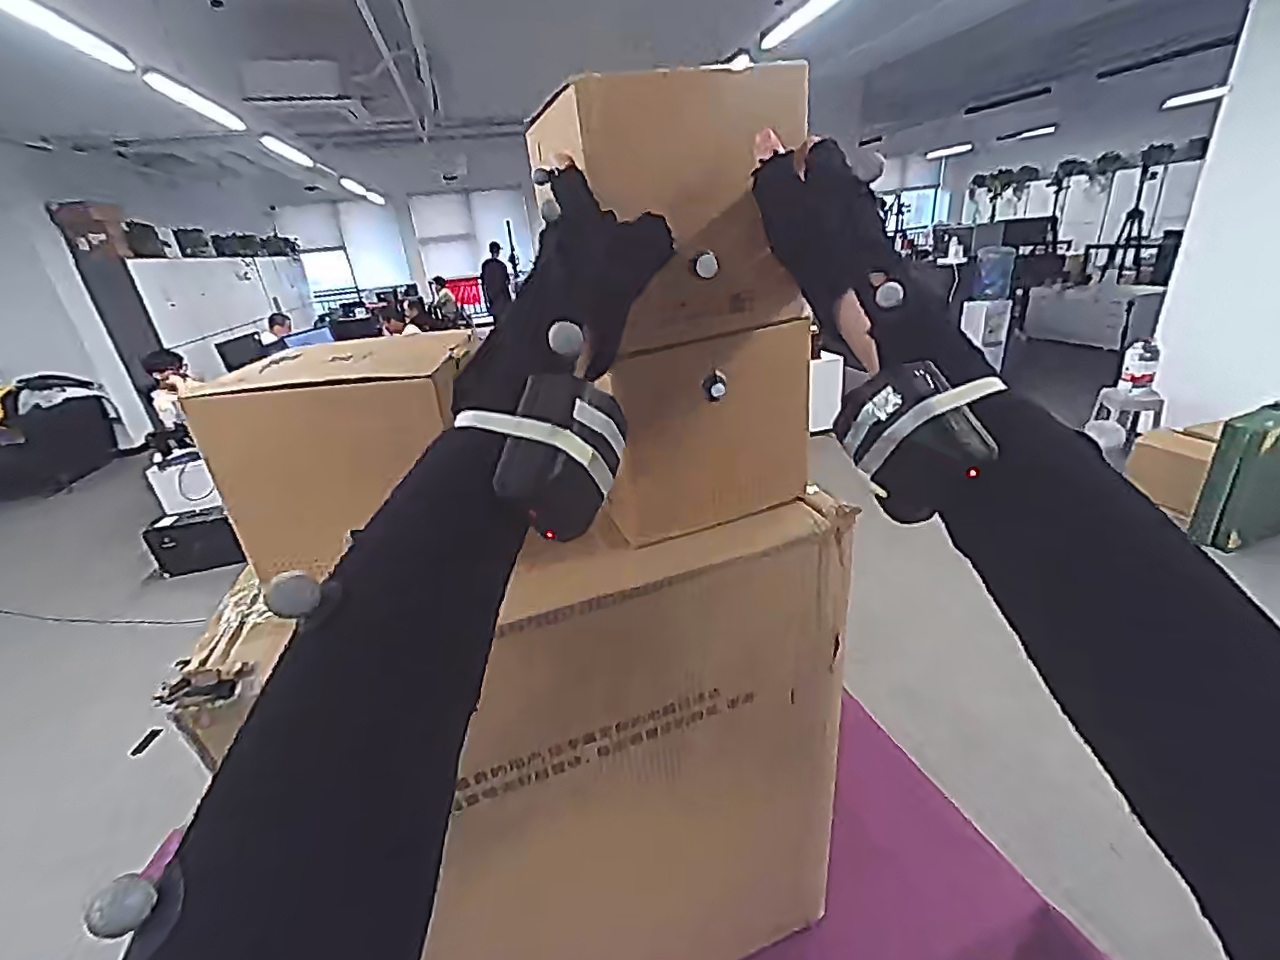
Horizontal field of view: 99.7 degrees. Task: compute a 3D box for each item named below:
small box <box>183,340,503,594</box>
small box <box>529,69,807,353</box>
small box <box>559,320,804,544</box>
[{"bbox_3d":[-0.227,-0.018,0.477,0.179,0.176,0.168,-5,25,-3],"label":"small box"},{"bbox_3d":[0.016,-0.208,0.444,0.168,0.176,0.179,-16,26,-15],"label":"small box"},{"bbox_3d":[0.037,-0.059,0.514,0.179,0.176,0.168,-14,26,-16],"label":"small box"}]
